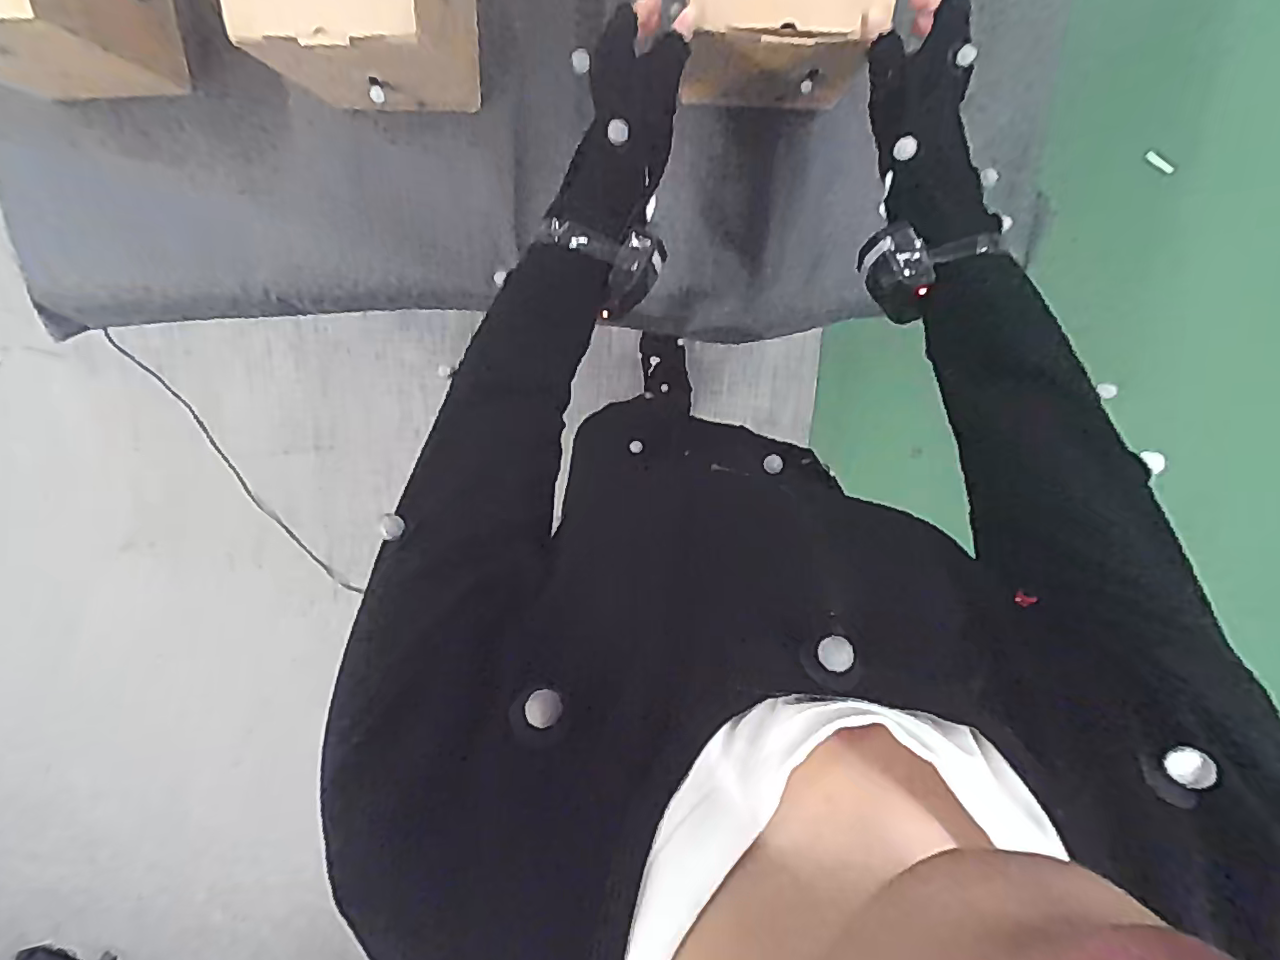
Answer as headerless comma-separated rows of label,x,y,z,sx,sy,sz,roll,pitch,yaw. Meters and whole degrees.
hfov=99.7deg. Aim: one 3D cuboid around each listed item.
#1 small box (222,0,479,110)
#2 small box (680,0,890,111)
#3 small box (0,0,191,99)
small box,-0.258,-0.470,0.503,0.168,0.176,0.179,2,108,2
small box,0.125,-0.463,0.492,0.168,0.176,0.179,3,106,1
small box,-0.589,-0.484,0.510,0.179,0.176,0.168,-1,107,1
